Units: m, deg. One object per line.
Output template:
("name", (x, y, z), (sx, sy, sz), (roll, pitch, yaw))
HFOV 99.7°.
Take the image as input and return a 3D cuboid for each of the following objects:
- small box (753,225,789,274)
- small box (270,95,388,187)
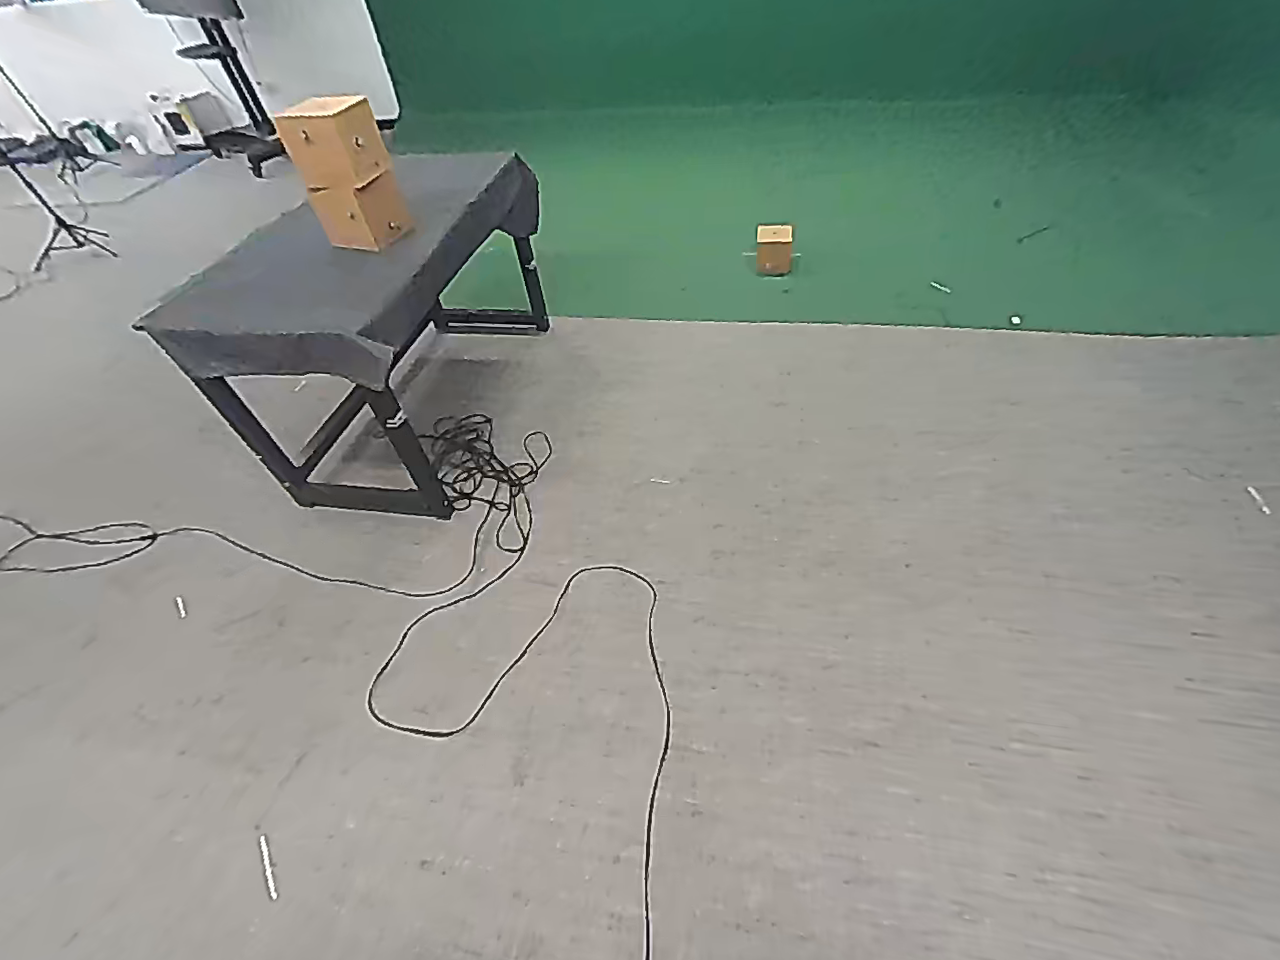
("small box", (0.656, -1.157, 2.713), (0.168, 0.176, 0.179), (4, 49, 10))
("small box", (-0.800, -0.885, 1.417), (0.179, 0.176, 0.168), (6, 50, 12))
